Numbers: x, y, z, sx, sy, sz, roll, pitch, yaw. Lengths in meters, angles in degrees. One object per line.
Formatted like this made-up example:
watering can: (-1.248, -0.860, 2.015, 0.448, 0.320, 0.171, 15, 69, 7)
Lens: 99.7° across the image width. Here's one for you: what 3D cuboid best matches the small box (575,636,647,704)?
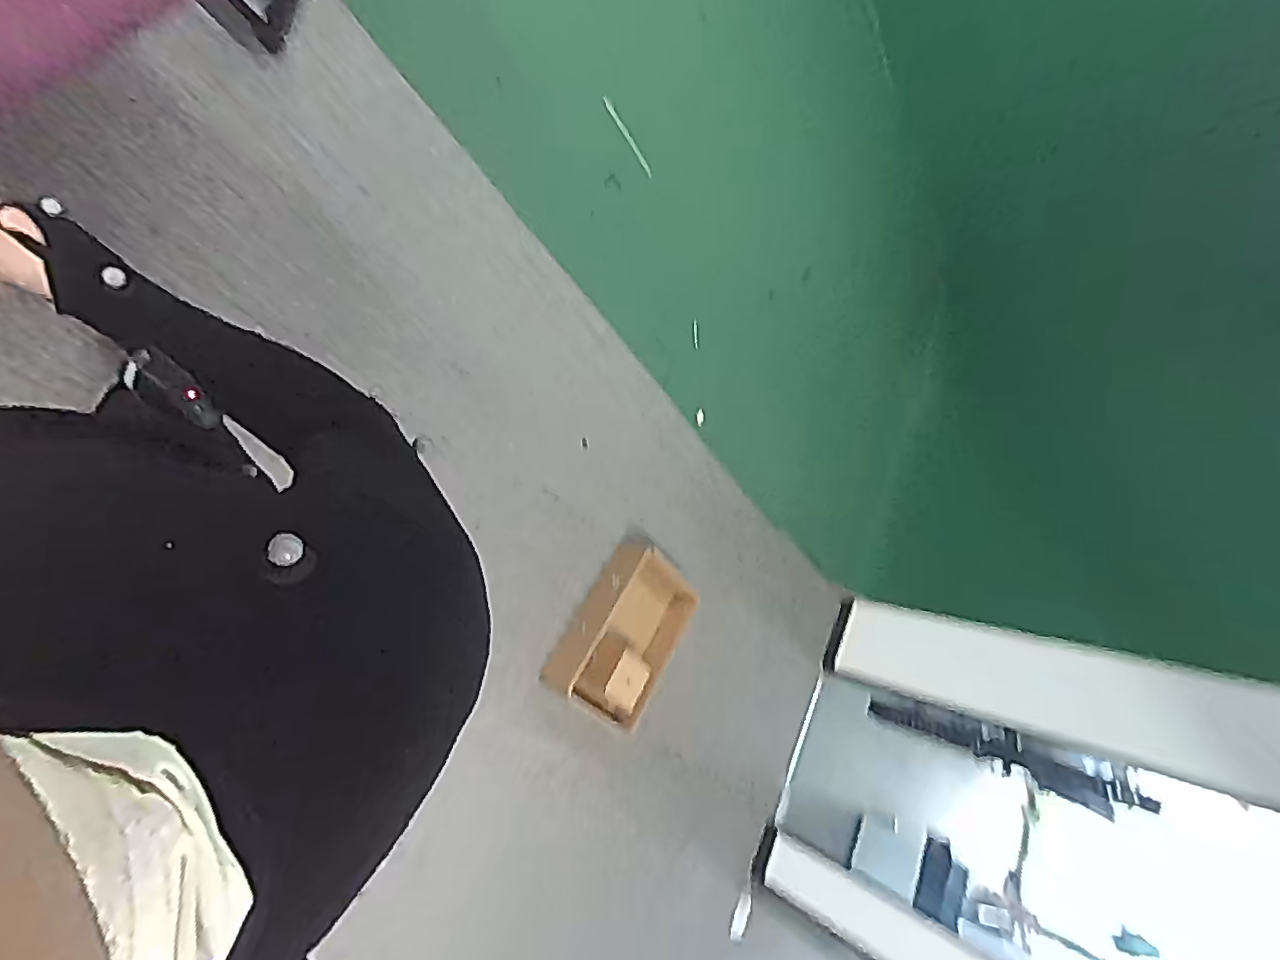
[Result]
small box: (-0.111, 0.713, 2.044, 0.179, 0.176, 0.168, 49, 60, -34)
